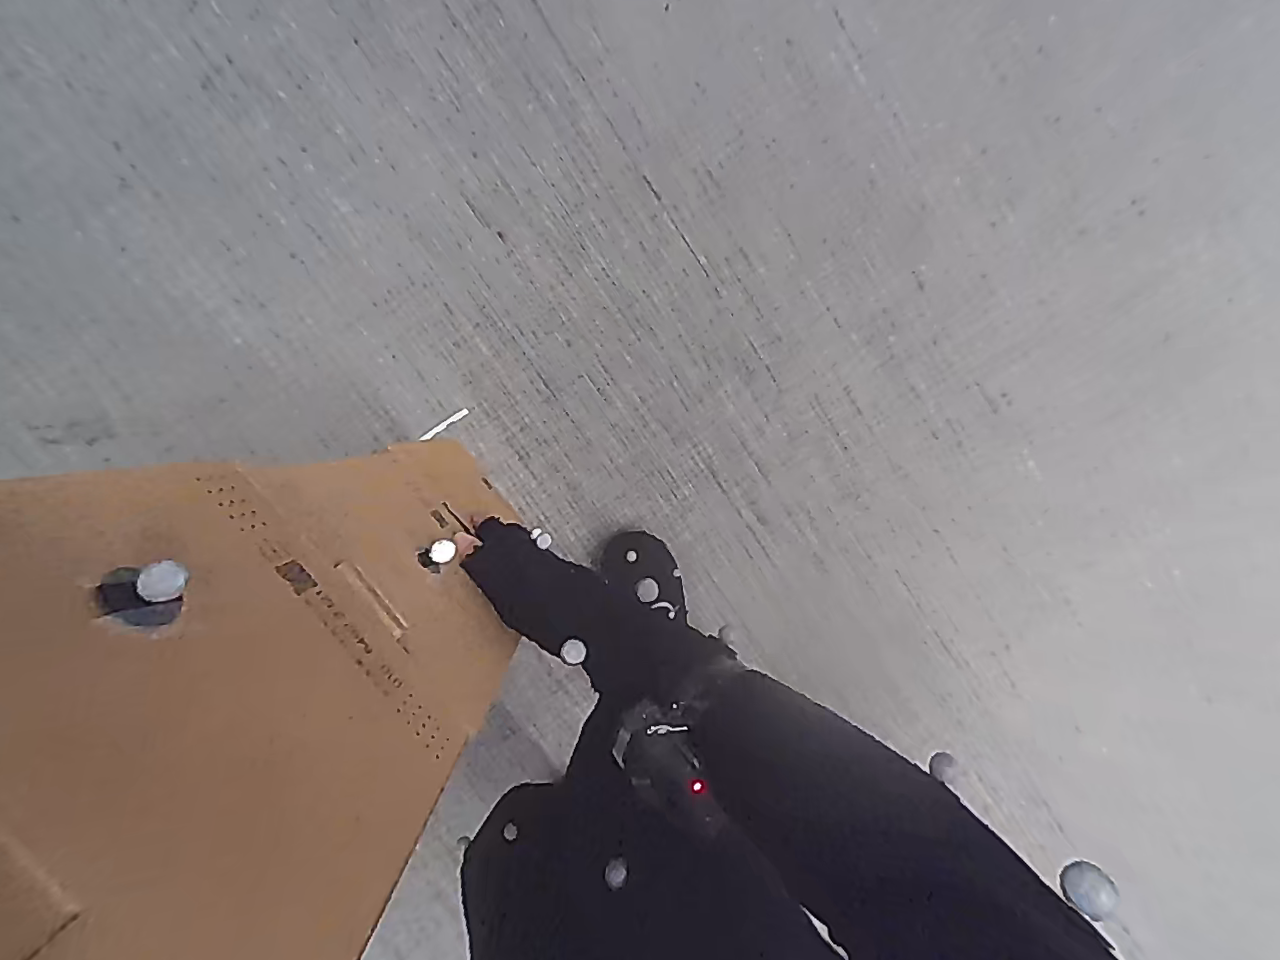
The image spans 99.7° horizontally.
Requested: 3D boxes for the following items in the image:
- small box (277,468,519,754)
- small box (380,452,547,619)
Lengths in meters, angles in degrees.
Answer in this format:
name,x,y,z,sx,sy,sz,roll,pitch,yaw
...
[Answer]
name,x,y,z,sx,sy,sz,roll,pitch,yaw
small box,-0.197,0.106,0.353,0.179,0.176,0.168,-37,95,1
small box,-0.204,0.087,0.515,0.179,0.176,0.168,-42,96,2
